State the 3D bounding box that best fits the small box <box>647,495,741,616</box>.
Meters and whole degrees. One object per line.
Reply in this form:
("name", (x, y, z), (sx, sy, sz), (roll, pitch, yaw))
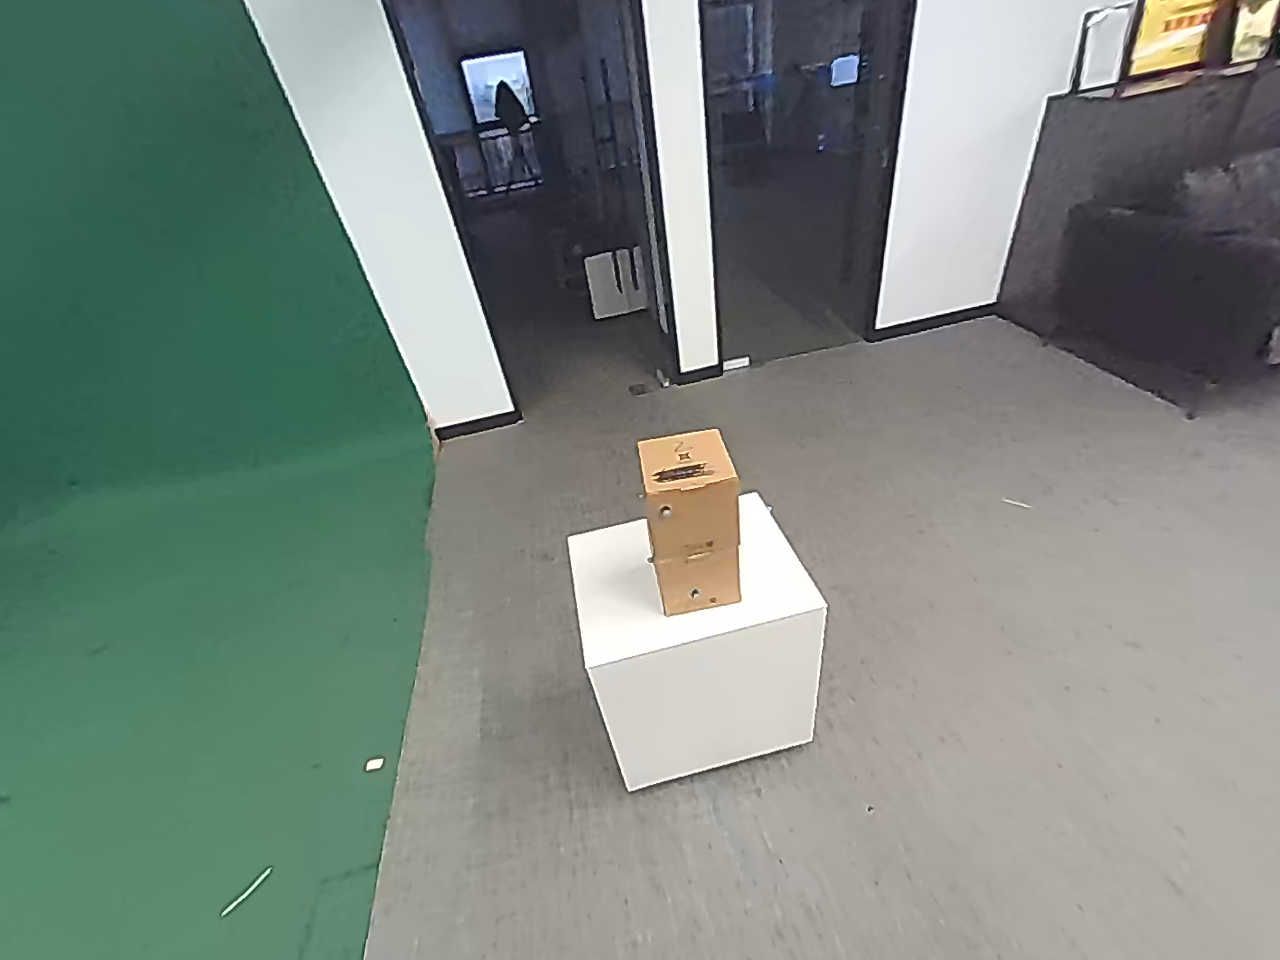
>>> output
("small box", (0.113, 0.159, 1.151), (0.168, 0.176, 0.179), (-11, 35, -1))
